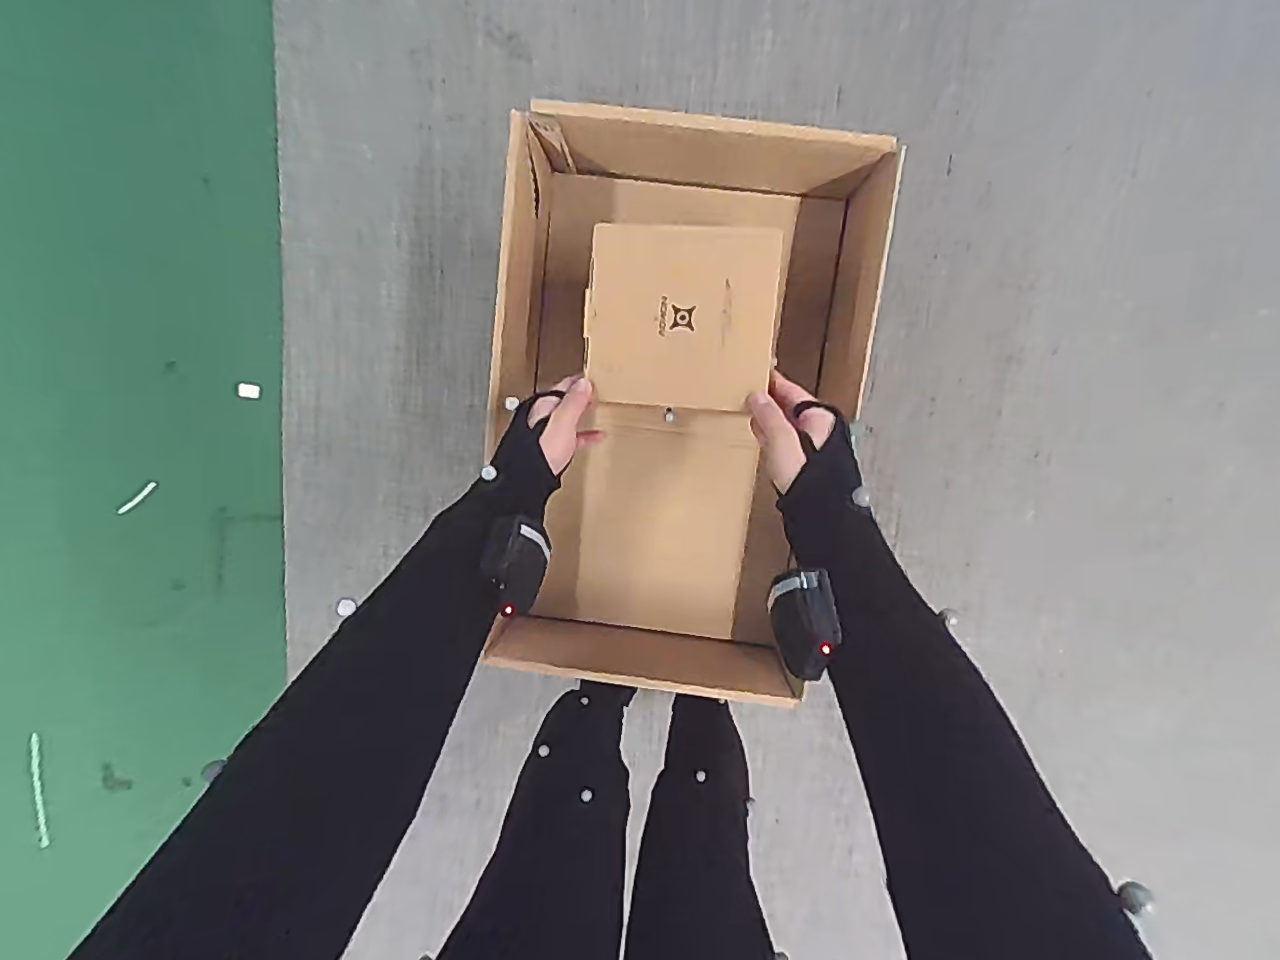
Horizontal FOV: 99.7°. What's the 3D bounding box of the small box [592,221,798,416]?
[{"bbox_3d":[0.058,-0.159,0.578,0.179,0.176,0.168,6,97,7],"label":"small box"}]
